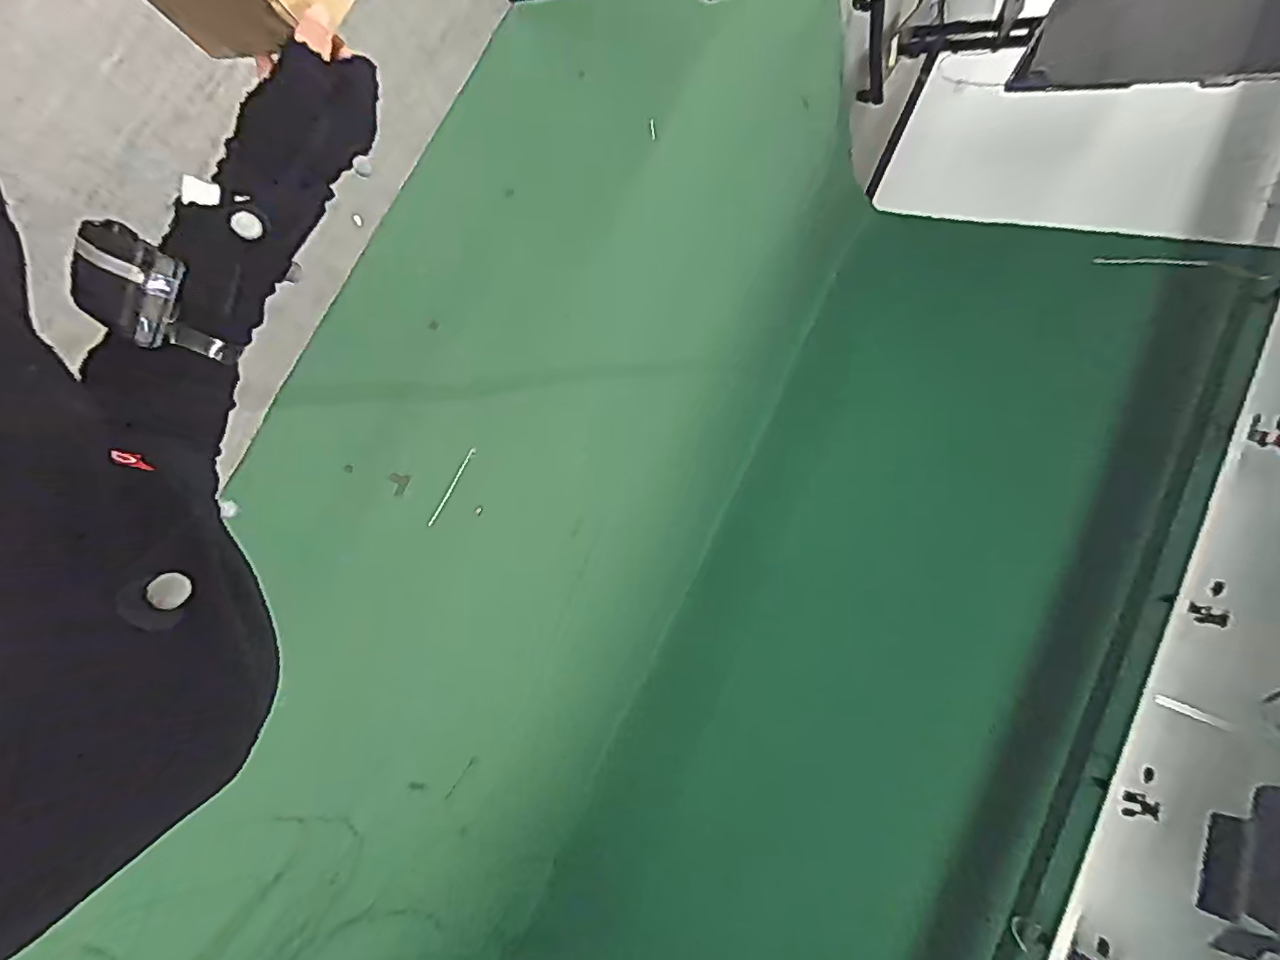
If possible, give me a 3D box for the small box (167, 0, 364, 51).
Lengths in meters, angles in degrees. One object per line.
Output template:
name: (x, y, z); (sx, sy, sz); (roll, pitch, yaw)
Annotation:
small box: (-0.257, -0.402, 0.325); (0.179, 0.176, 0.168); (-65, 151, -5)
